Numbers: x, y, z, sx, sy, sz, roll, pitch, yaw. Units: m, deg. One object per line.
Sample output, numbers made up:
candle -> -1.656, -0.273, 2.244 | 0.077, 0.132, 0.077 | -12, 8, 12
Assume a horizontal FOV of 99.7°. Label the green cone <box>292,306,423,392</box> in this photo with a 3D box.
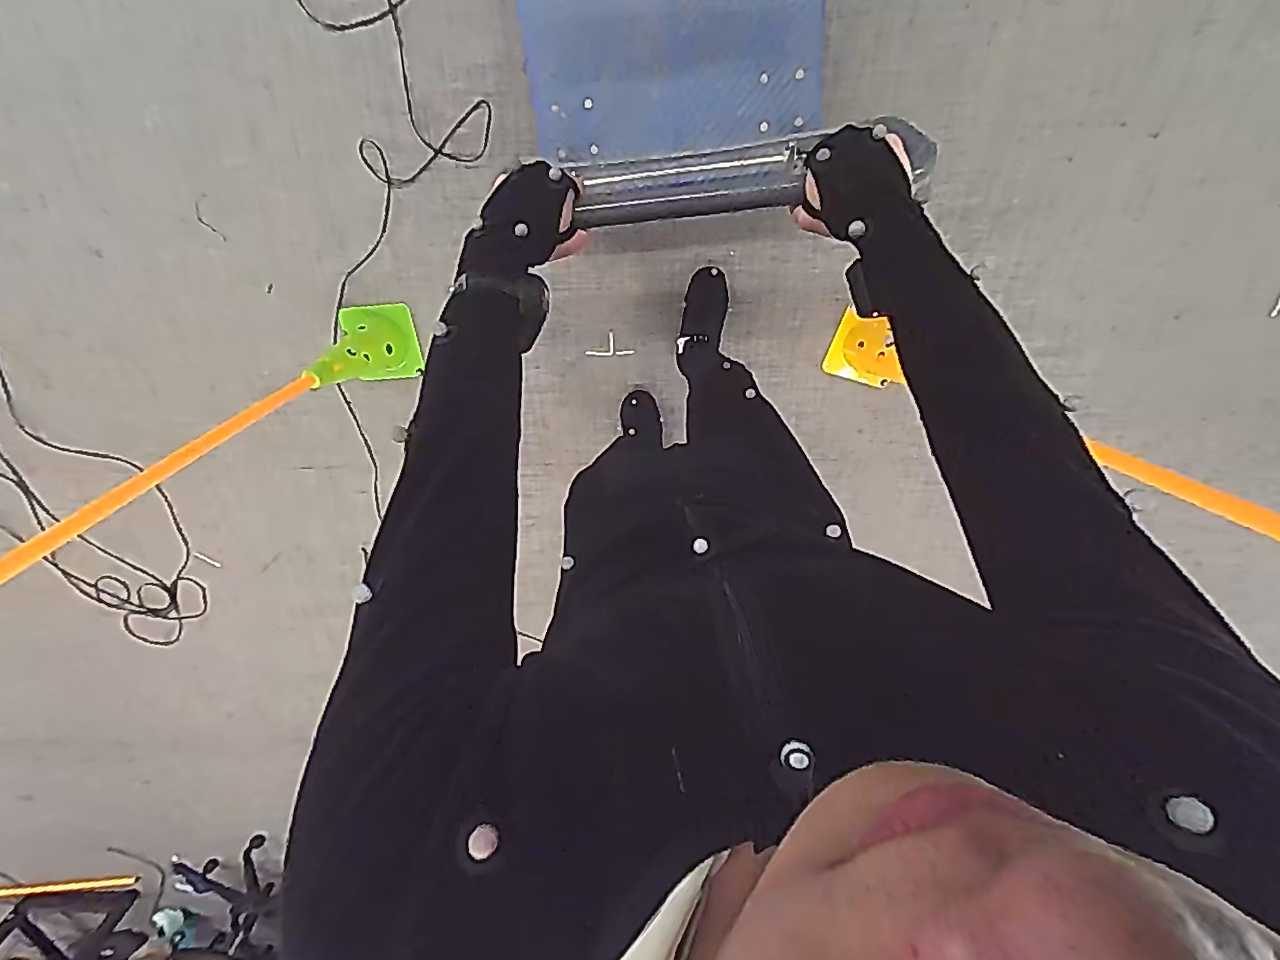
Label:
green cone -> -0.719, -0.293, 1.327 | 0.202, 0.368, 0.200 | -3, 116, 5
